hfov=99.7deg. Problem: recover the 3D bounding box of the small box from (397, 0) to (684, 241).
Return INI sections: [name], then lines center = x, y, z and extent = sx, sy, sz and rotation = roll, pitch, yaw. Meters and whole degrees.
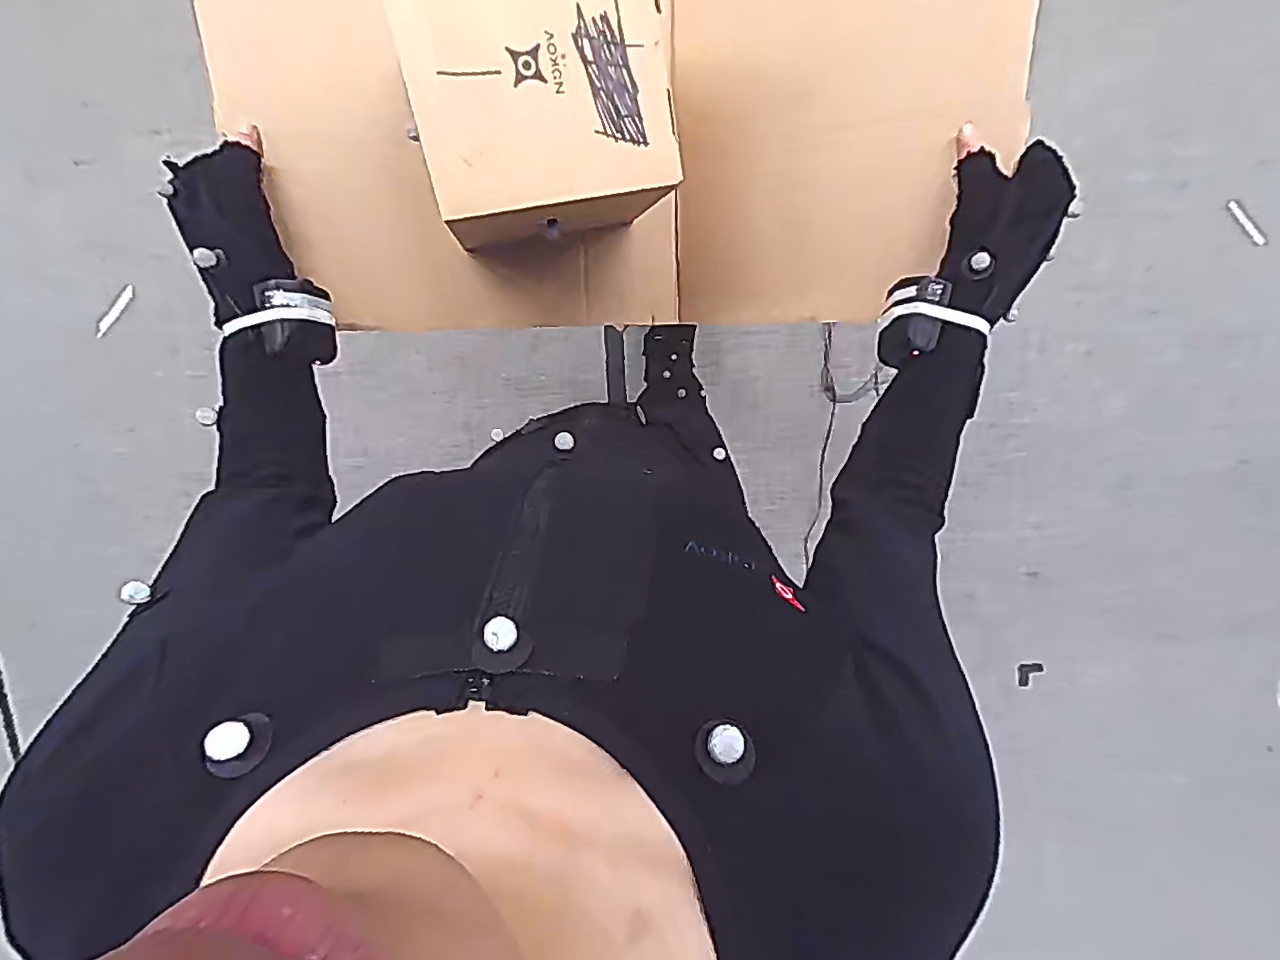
[small box]
center = -0.080, -0.303, 0.441
extent = 0.179, 0.176, 0.168
rotation = -14, 109, -8
